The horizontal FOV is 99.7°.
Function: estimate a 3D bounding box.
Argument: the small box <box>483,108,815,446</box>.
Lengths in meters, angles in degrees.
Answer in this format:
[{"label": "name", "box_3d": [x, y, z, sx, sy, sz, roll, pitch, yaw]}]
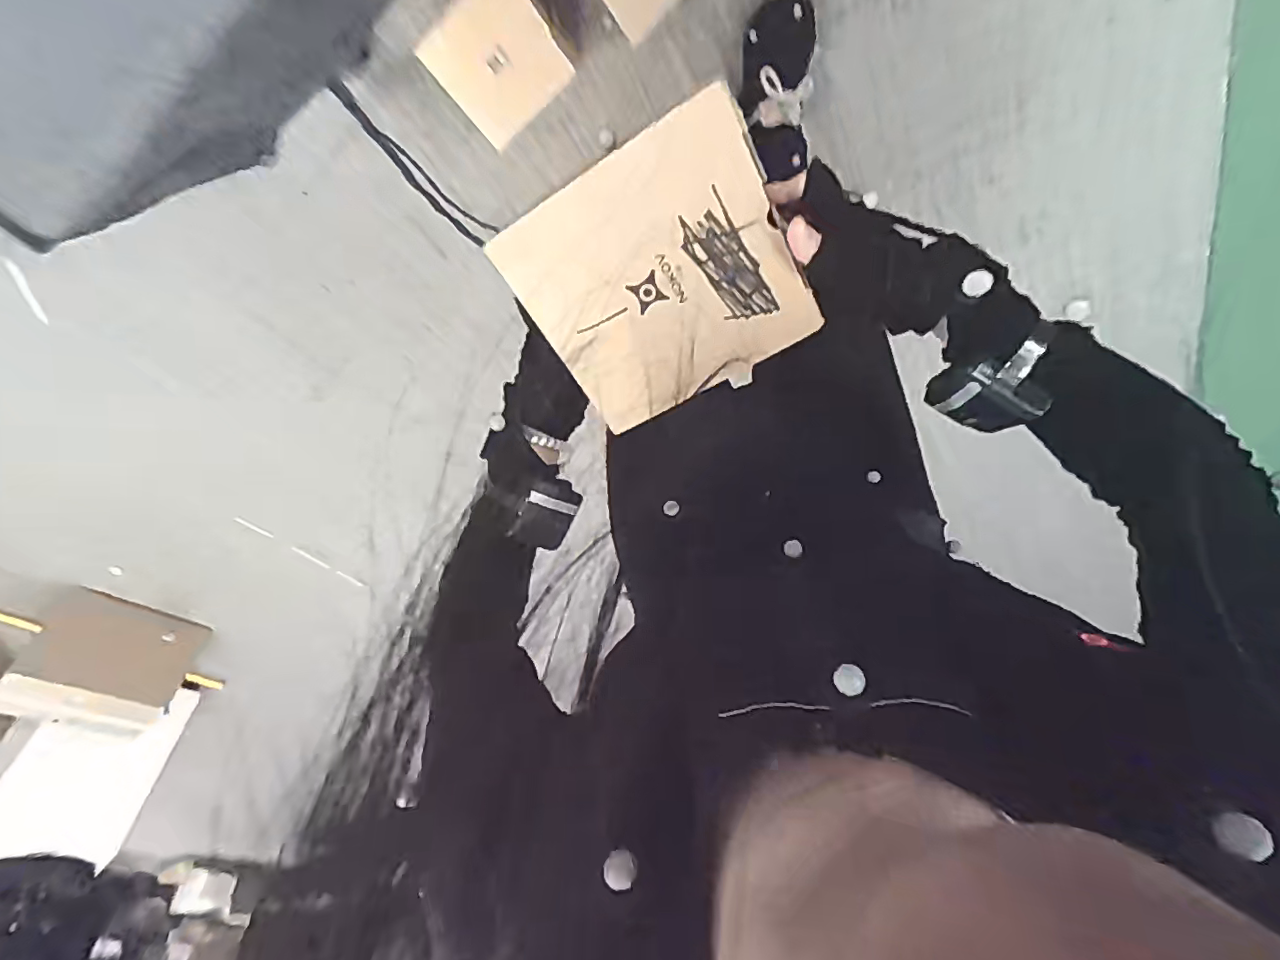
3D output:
[{"label": "small box", "box_3d": [0.010, -0.164, 0.428, 0.179, 0.176, 0.168, -25, 121, 18]}]
